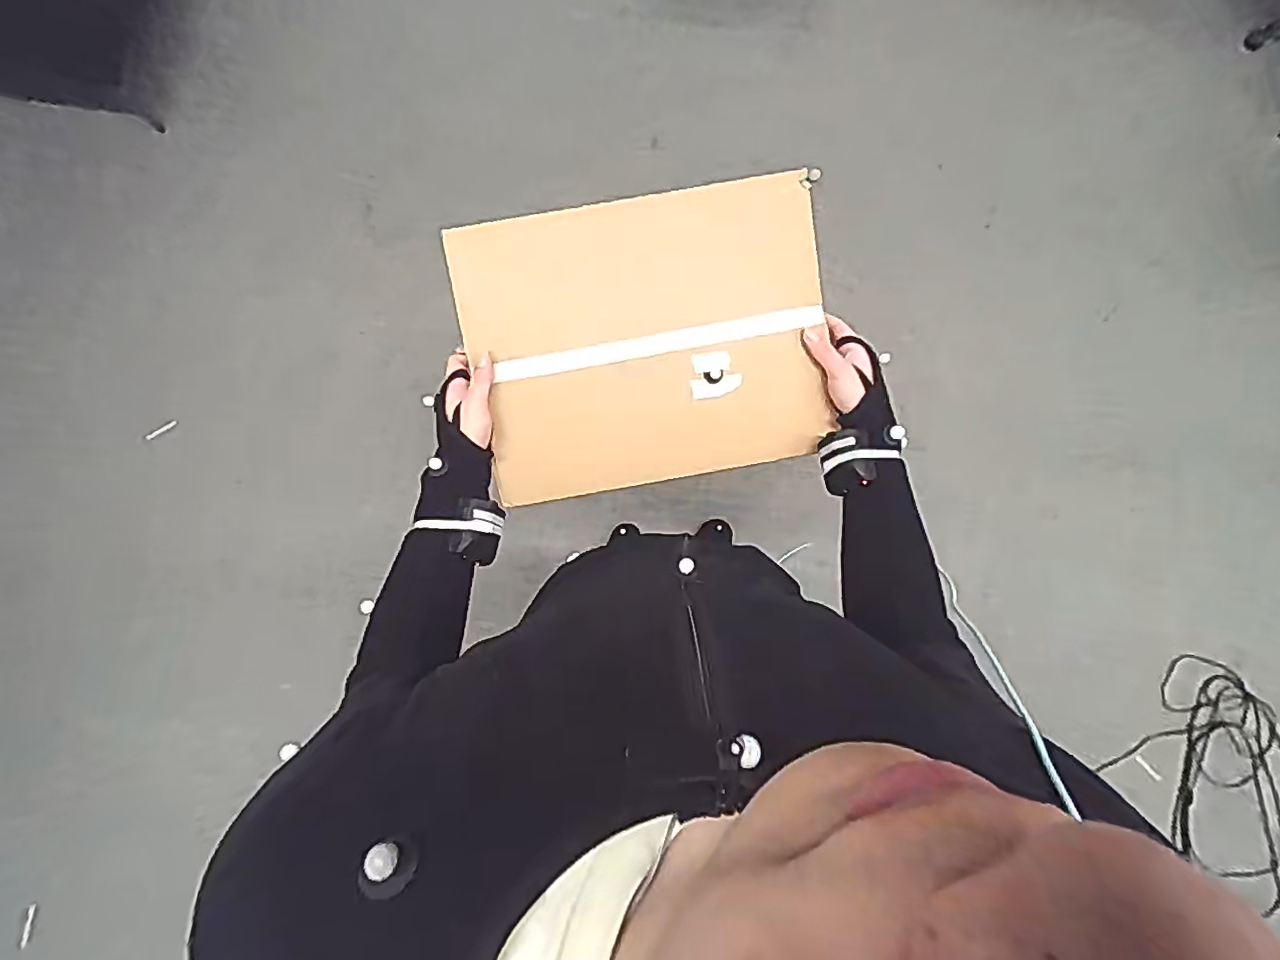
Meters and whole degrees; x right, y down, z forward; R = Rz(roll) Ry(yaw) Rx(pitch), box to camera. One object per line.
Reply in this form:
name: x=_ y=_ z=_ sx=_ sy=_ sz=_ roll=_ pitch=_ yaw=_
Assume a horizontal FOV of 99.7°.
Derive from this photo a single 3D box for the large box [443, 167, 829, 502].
large box: x=-0.005 y=-0.181 z=0.765 sx=0.408 sy=0.320 sz=0.320 roll=-11 pitch=99 yaw=-2
